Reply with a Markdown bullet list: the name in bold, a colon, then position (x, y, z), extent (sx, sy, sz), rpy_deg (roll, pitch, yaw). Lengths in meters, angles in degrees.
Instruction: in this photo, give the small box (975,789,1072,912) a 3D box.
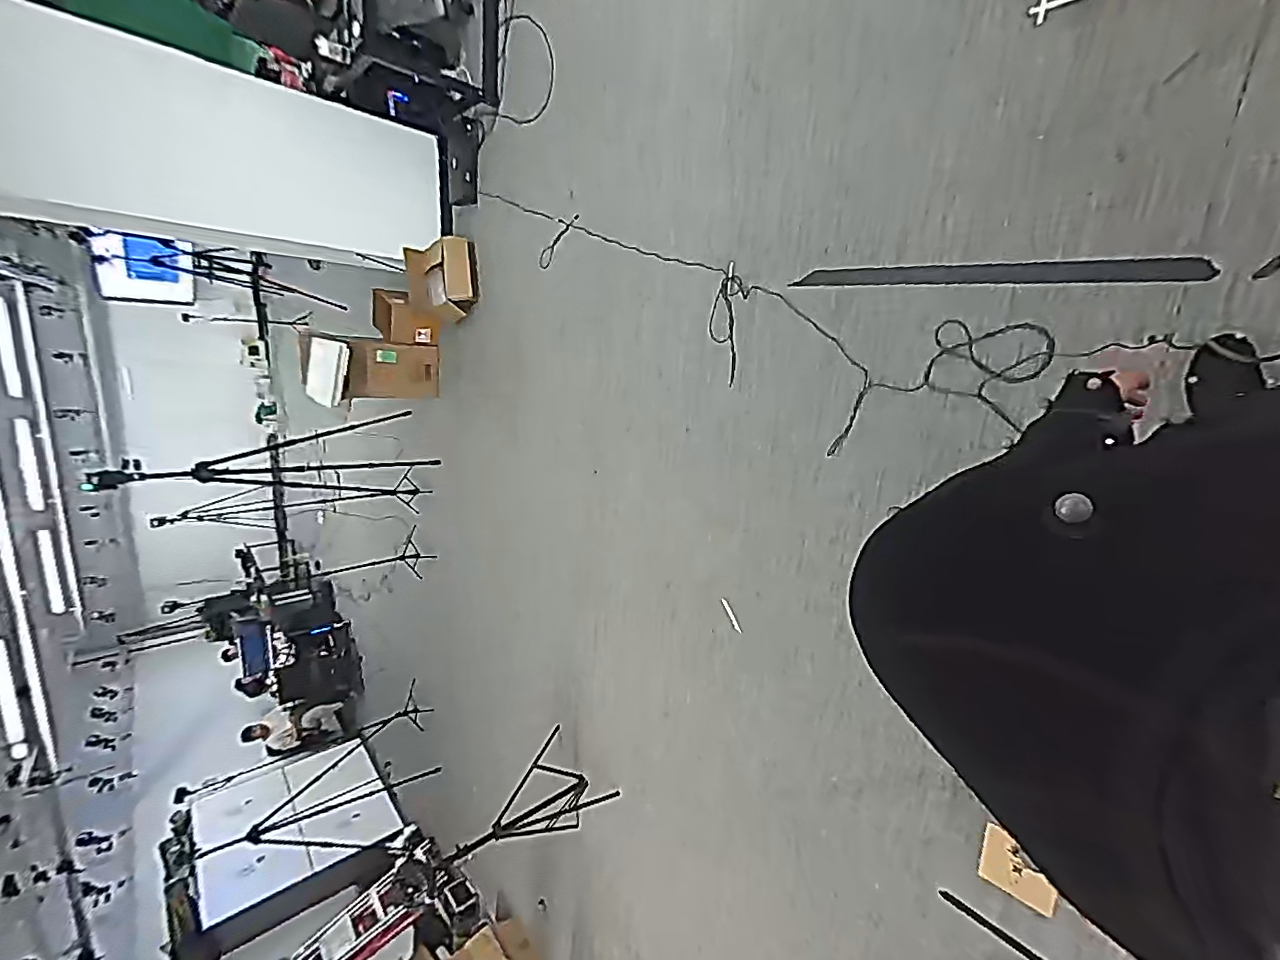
- **small box**: position (1.022, 0.970, 1.436), extent (0.168, 0.176, 0.179), rpy_deg (14, 108, 47)
